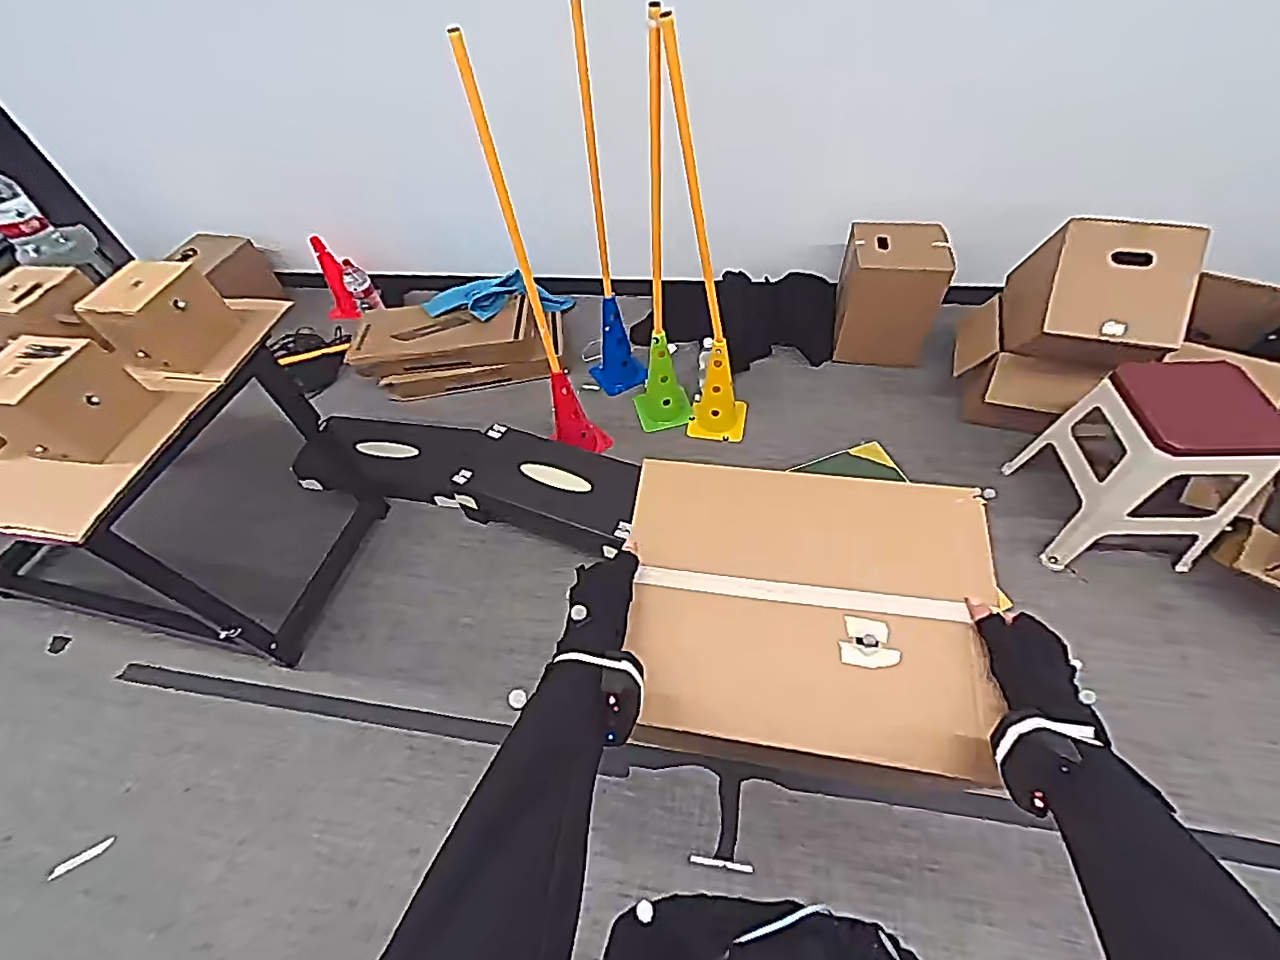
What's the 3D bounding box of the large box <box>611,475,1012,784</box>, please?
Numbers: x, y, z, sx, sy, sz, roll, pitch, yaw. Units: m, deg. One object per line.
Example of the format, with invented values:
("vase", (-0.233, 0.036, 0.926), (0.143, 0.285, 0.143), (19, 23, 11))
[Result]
("large box", (0.194, 0.213, 0.744), (0.408, 0.320, 0.320), (5, 62, 9))
